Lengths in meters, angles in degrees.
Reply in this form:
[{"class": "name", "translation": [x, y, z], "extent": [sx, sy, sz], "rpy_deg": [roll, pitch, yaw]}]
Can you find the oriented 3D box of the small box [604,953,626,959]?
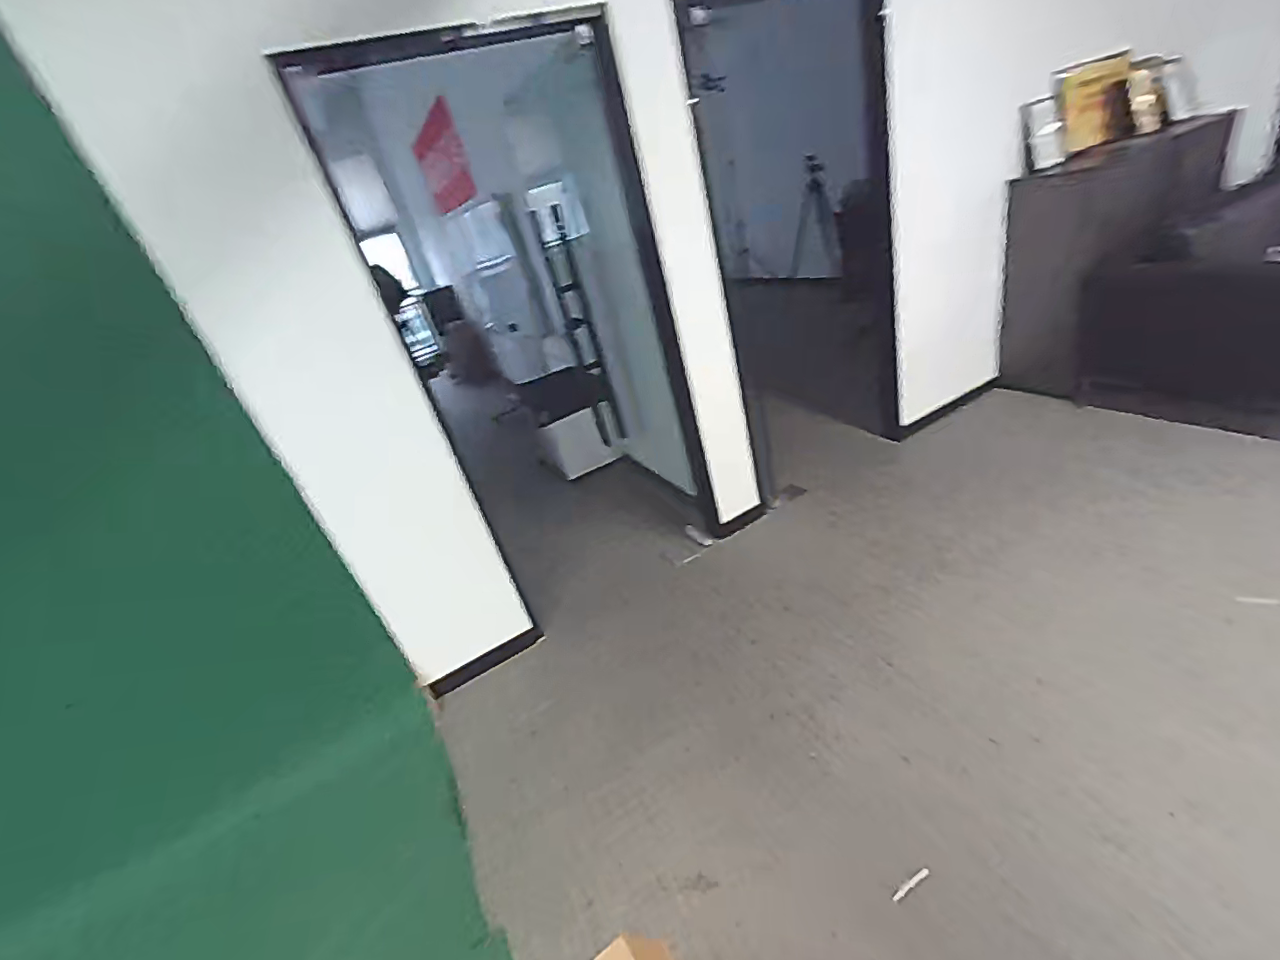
[{"class": "small box", "translation": [-0.019, 0.477, 0.372], "extent": [0.168, 0.176, 0.179], "rpy_deg": [-32, 47, -13]}]
